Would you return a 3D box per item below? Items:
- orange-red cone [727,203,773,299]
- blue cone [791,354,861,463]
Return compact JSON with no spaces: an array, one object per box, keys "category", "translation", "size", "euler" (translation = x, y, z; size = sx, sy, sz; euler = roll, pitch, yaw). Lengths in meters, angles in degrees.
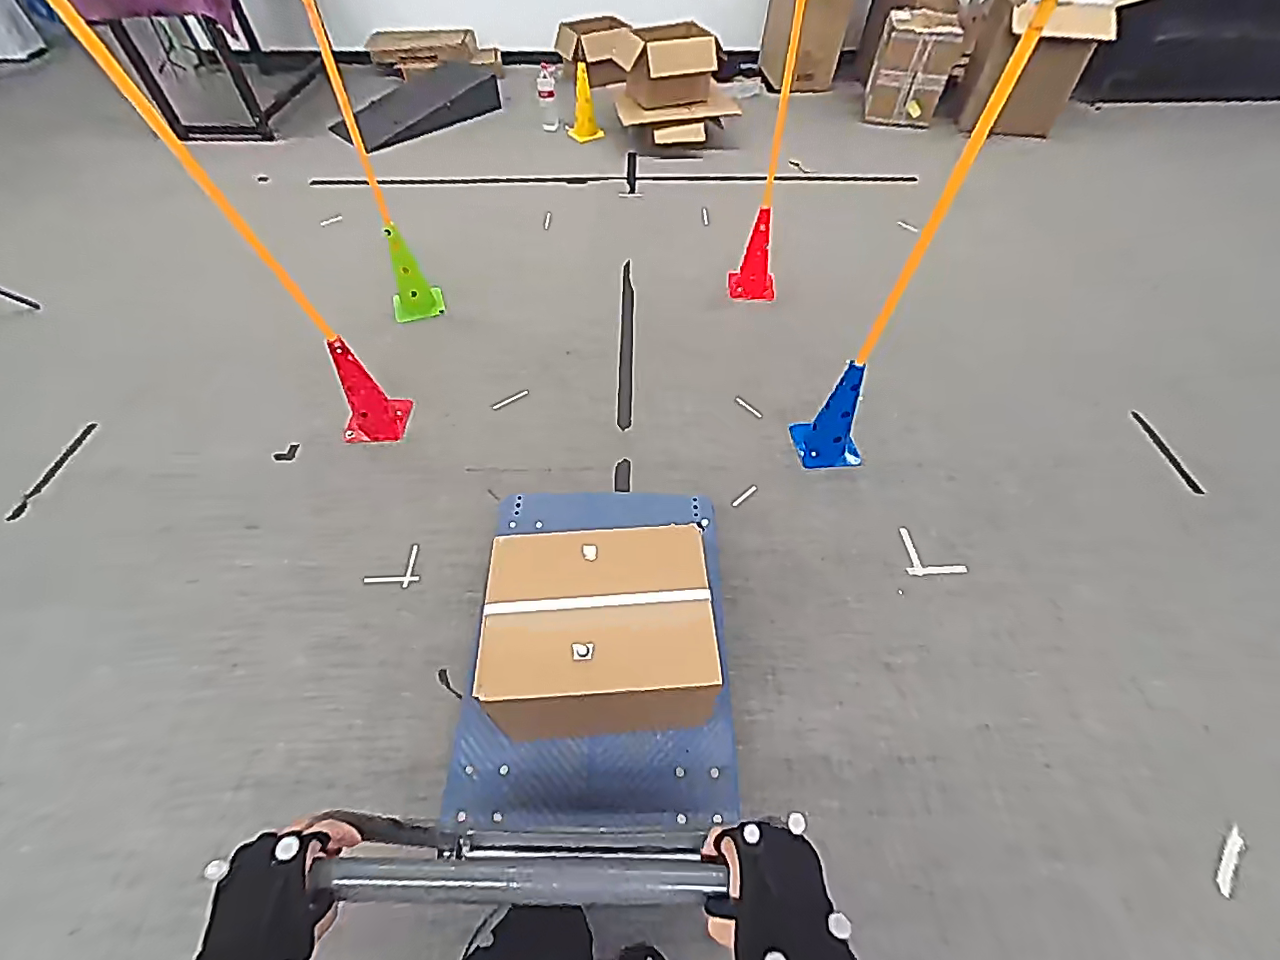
[{"category":"orange-red cone","translation":[0.488,-0.963,2.238],"size":[0.199,0.360,0.198],"euler":[6,54,3]},{"category":"blue cone","translation":[0.625,-0.234,1.709],"size":[0.193,0.380,0.192],"euler":[-3,52,-3]}]
